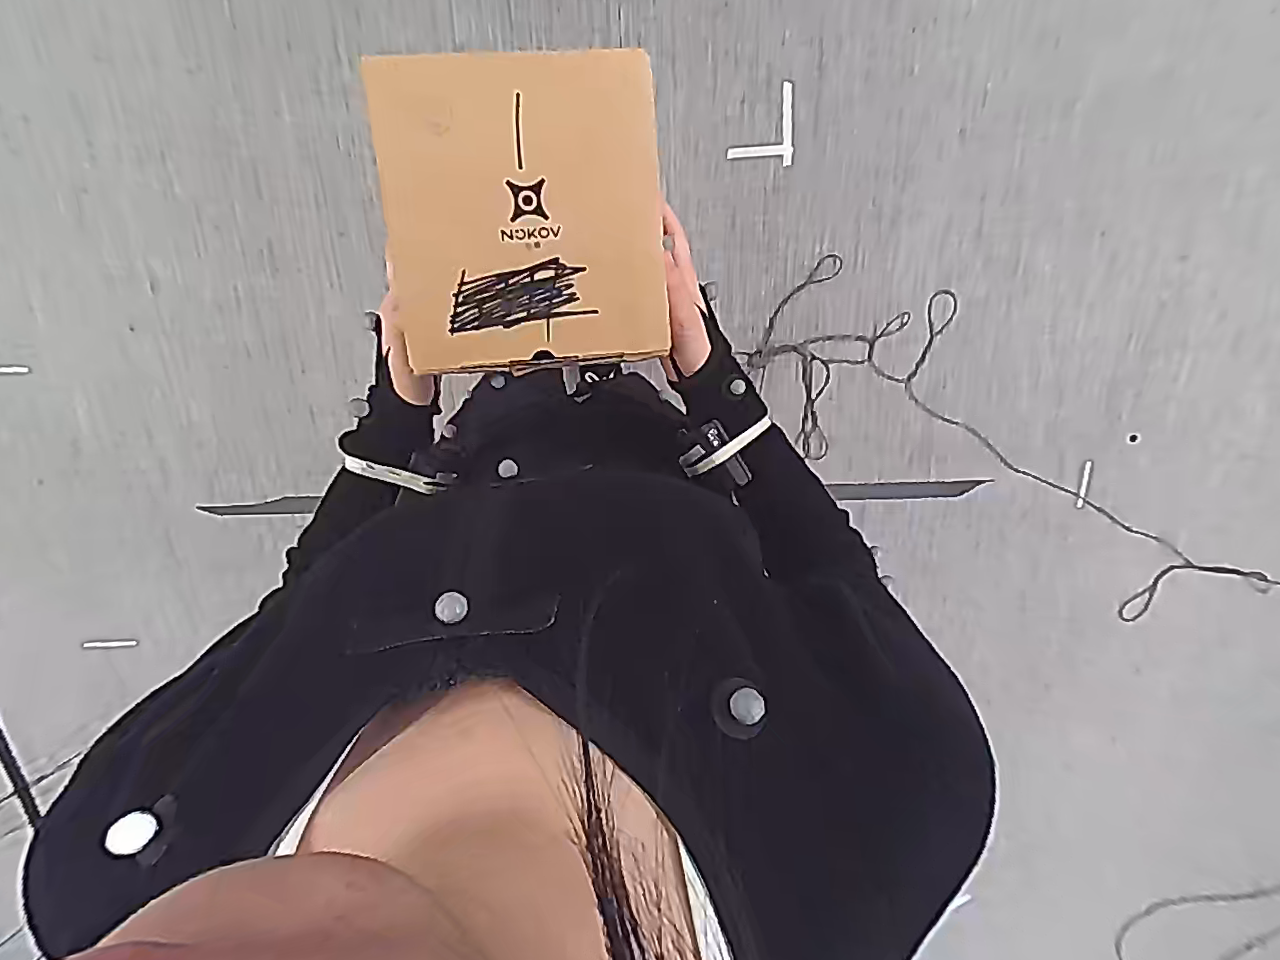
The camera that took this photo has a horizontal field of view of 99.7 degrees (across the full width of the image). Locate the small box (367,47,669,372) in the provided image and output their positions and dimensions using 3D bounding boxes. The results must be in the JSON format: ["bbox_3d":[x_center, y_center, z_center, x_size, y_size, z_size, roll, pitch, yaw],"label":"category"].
[{"bbox_3d":[-0.074,-0.175,0.402,0.168,0.176,0.179,-6,101,-5],"label":"small box"}]
